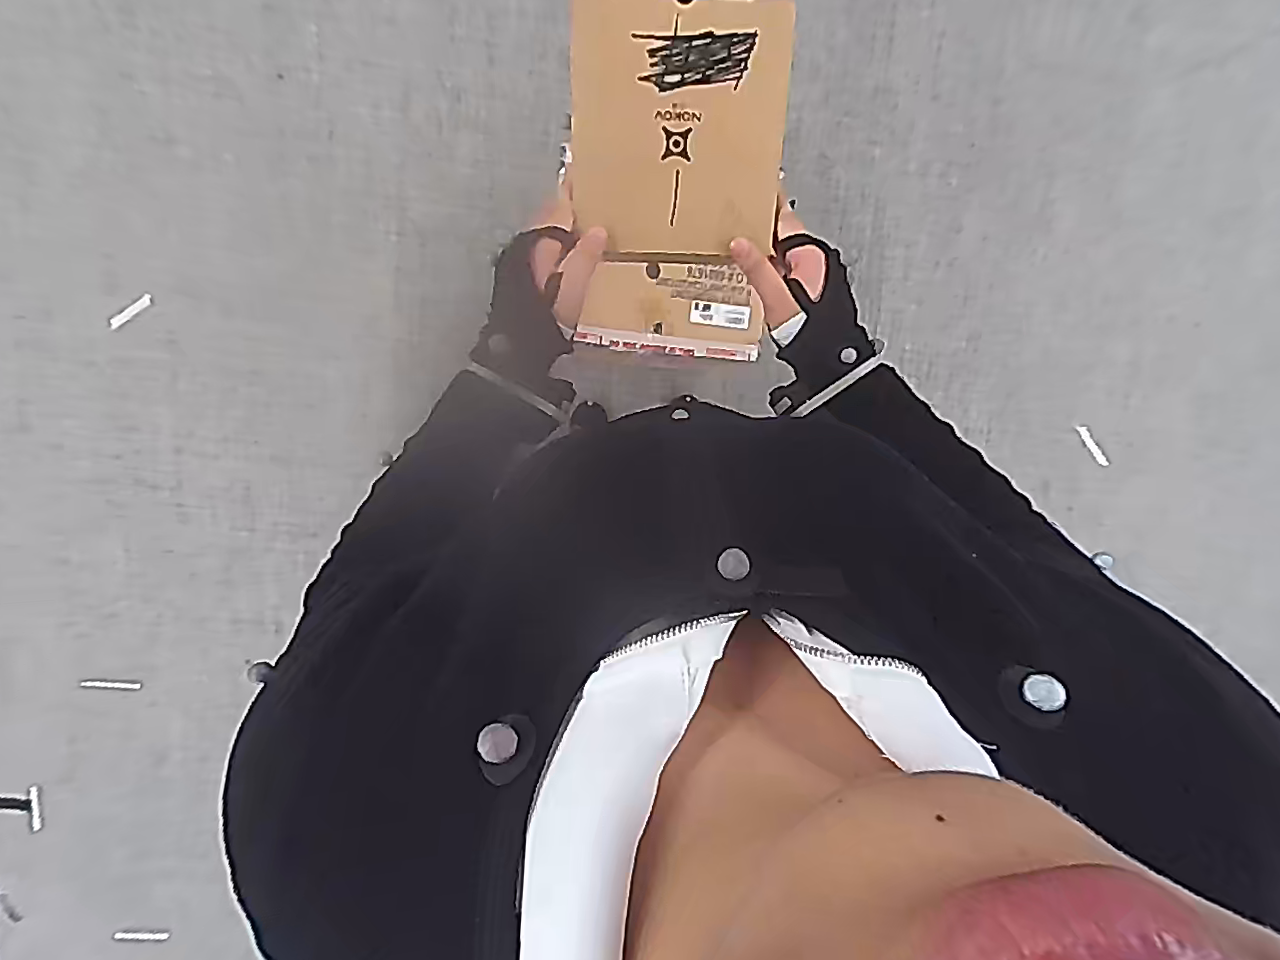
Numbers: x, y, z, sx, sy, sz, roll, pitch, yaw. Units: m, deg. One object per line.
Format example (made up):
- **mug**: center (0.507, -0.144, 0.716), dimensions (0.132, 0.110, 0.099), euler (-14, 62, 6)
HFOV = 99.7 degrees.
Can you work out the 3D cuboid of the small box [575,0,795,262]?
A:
- **small box**: center (0.026, -0.300, 0.493), dimensions (0.168, 0.176, 0.179), euler (0, 110, -4)
